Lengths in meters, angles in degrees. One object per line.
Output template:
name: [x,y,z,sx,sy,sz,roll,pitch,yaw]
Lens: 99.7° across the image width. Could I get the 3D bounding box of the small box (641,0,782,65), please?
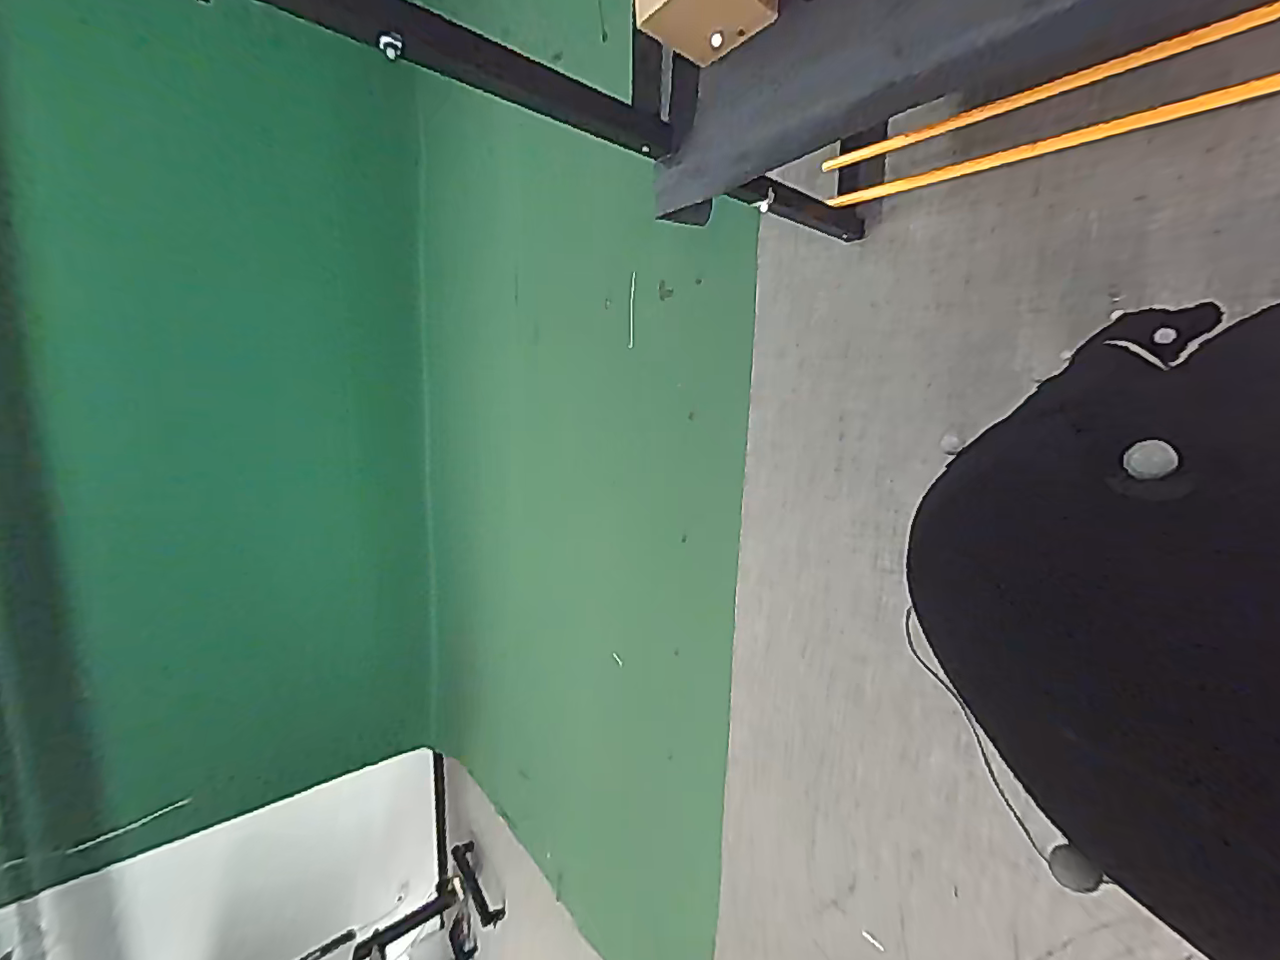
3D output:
small box: [0.118,-0.832,0.877,0.168,0.176,0.179,7,100,50]
